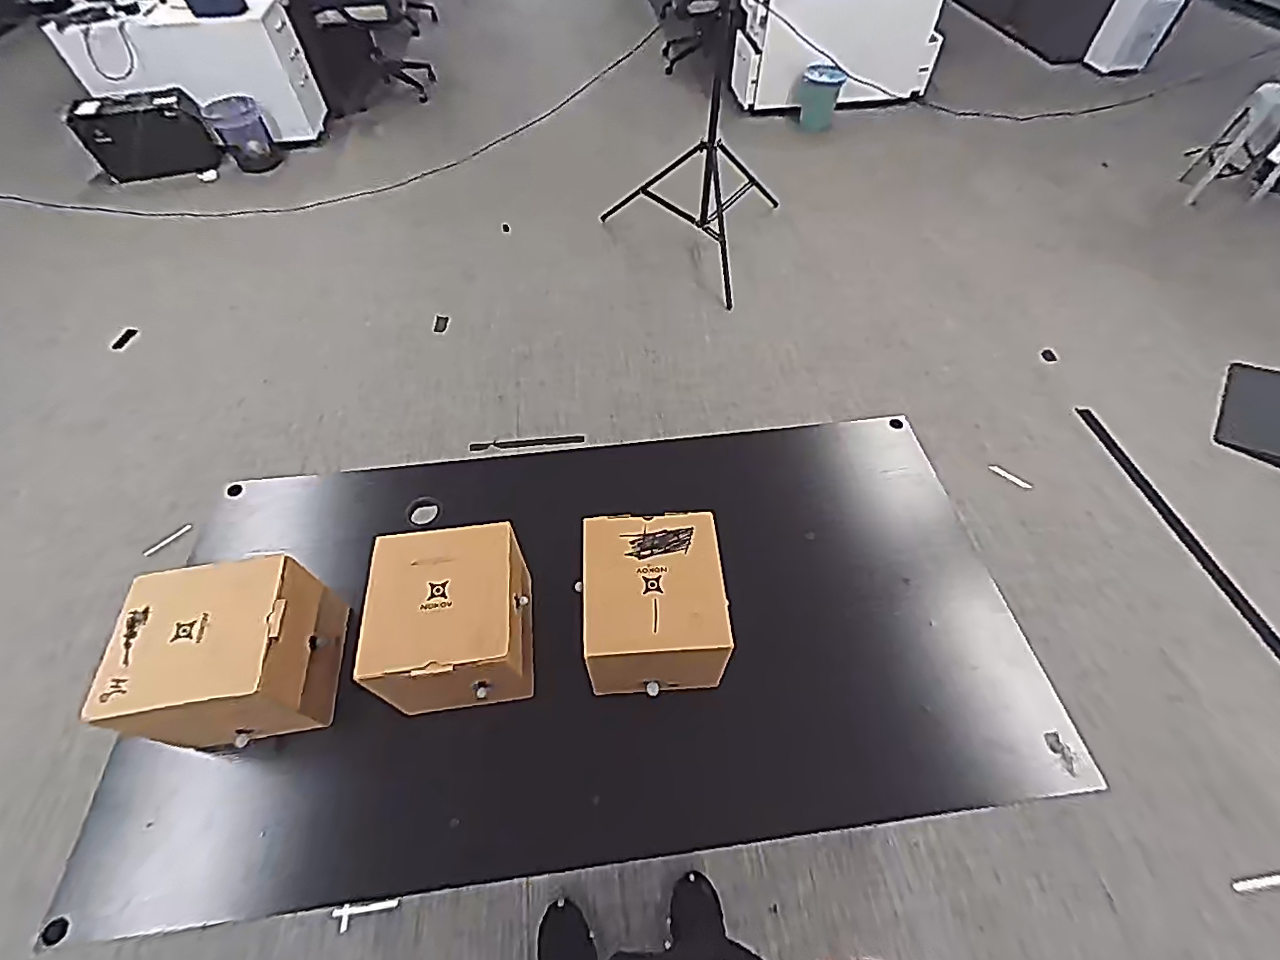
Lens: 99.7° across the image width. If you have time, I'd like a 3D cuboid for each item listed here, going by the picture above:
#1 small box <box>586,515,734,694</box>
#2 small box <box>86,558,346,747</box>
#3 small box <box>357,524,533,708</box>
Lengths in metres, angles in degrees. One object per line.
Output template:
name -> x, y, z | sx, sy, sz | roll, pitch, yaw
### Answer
small box -> 0.017, 0.163, 0.701 | 0.168, 0.176, 0.179 | -3, 55, -2
small box -> -0.490, 0.215, 0.665 | 0.179, 0.176, 0.168 | -7, 55, -7
small box -> -0.232, 0.180, 0.692 | 0.168, 0.176, 0.179 | -6, 54, -5
